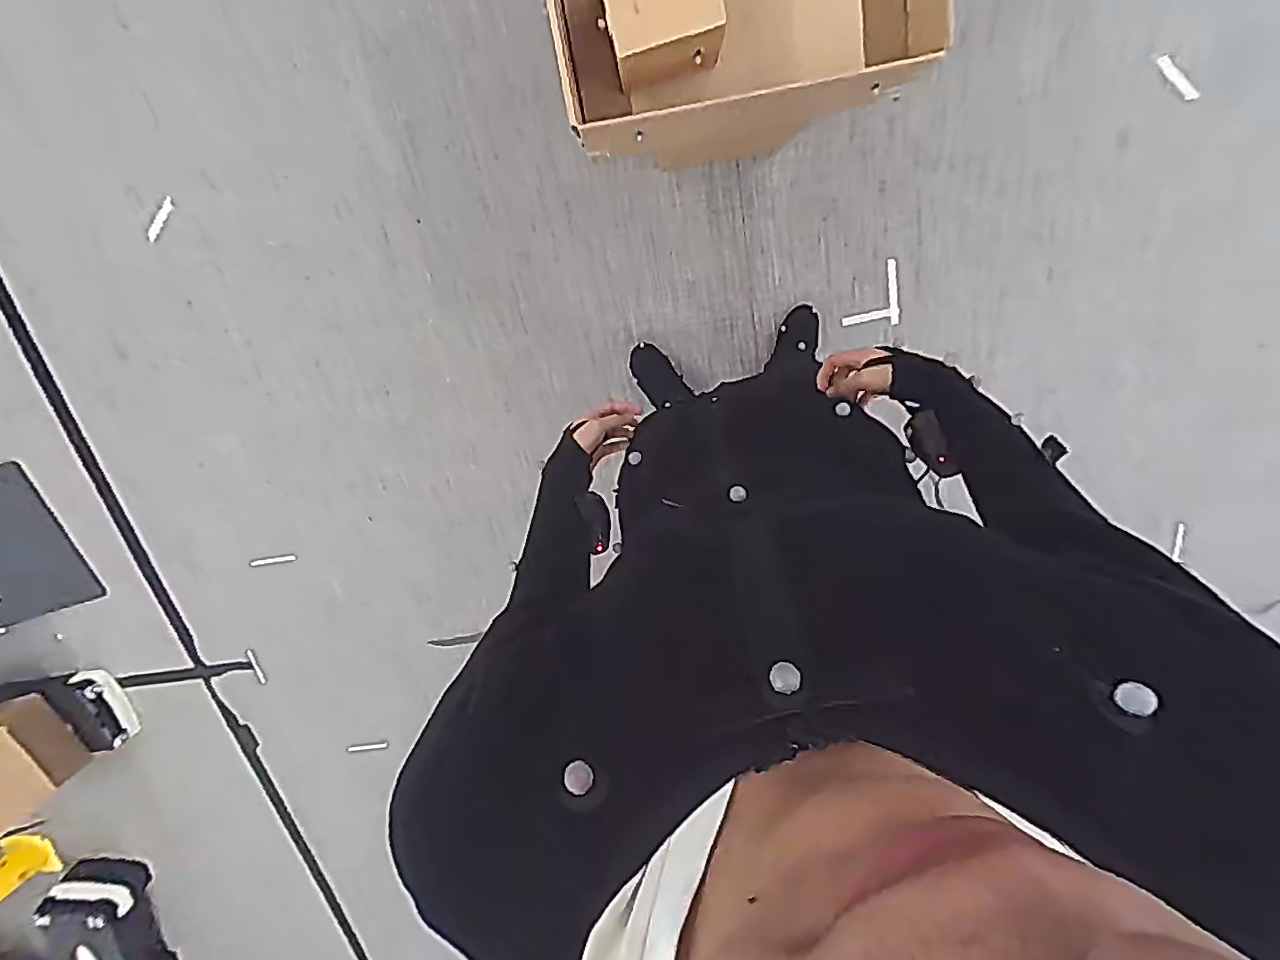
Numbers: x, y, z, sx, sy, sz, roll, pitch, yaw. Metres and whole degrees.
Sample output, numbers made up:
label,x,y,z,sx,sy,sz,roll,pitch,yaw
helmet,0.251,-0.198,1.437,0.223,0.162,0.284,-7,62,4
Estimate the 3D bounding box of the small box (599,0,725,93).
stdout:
label,x,y,z,sx,sy,sz,roll,pitch,yaw
small box,0.028,-0.768,0.876,0.179,0.176,0.168,-13,108,6
